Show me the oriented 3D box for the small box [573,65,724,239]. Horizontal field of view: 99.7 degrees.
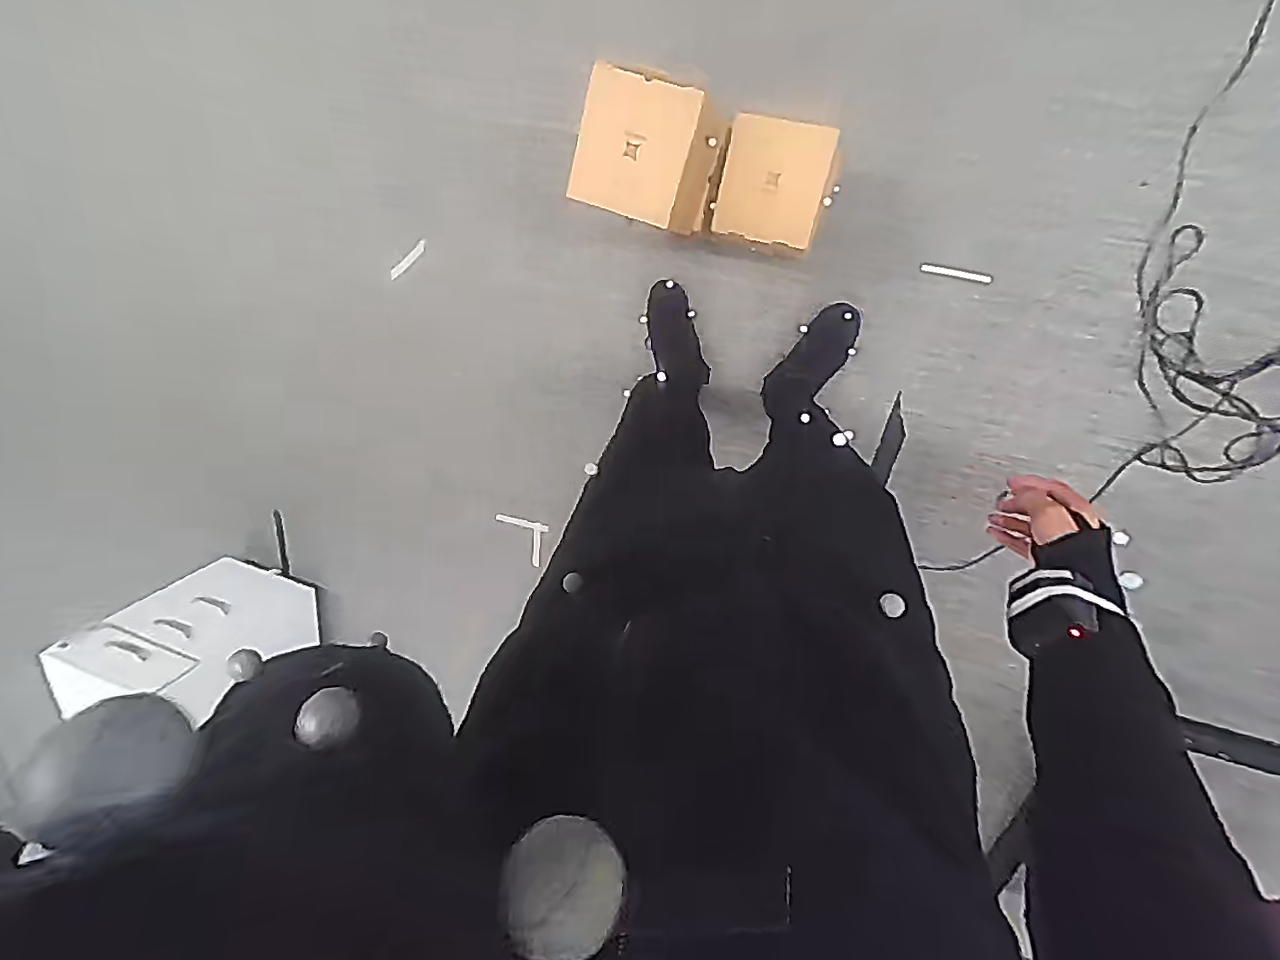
[{"bbox_3d":[0.021,-0.488,0.832,0.168,0.176,0.179,23,116,8],"label":"small box"}]
